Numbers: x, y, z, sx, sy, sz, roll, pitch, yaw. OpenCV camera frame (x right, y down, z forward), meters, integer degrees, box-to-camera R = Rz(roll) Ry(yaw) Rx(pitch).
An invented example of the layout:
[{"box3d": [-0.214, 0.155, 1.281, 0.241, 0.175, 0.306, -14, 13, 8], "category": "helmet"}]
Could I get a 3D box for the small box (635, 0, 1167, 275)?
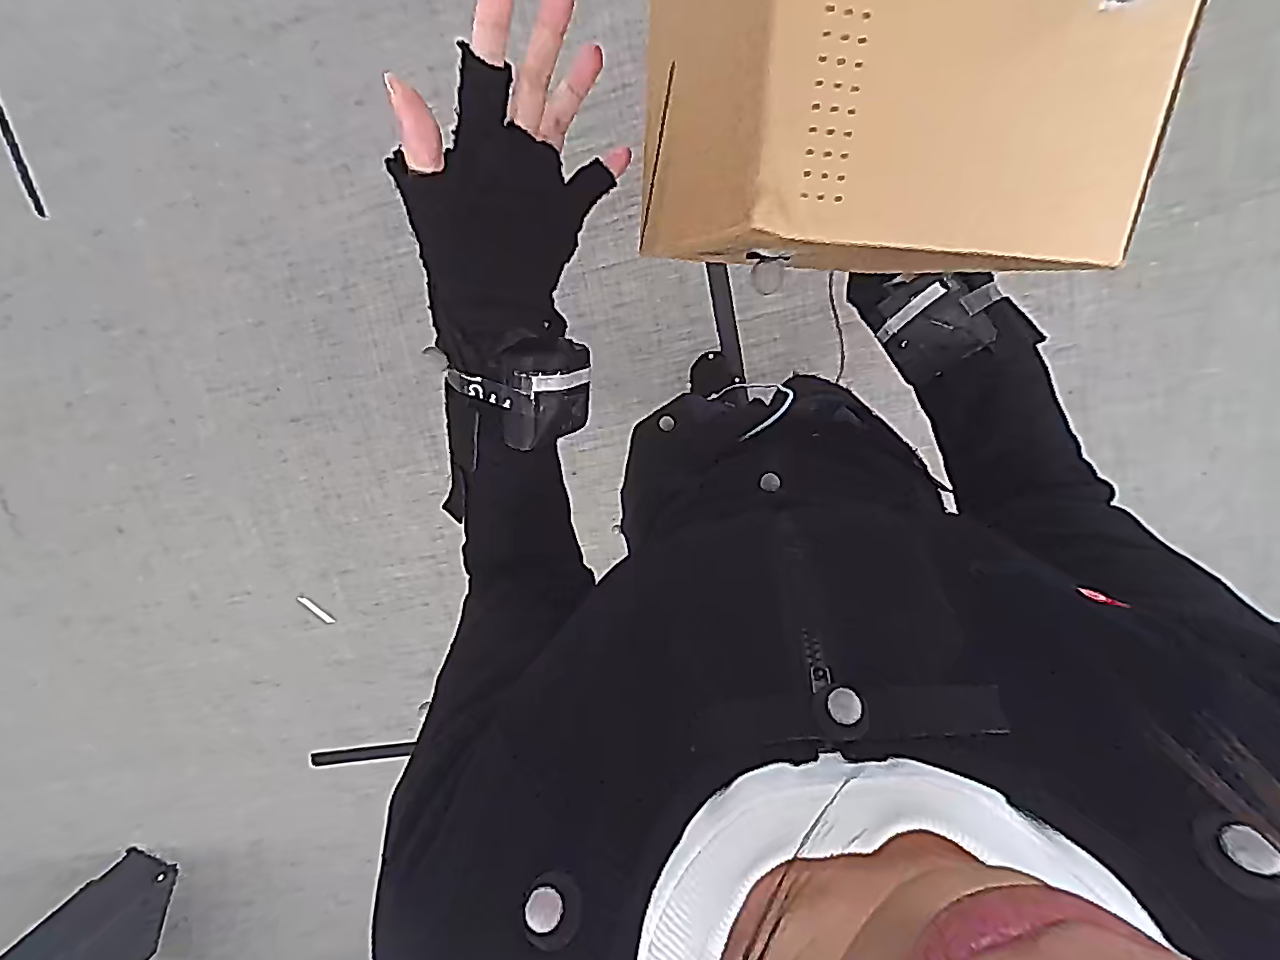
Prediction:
[{"box3d": [0.098, -0.198, 0.260, 0.176, 0.168, 0.179, -1, 109, -14], "category": "small box"}]
